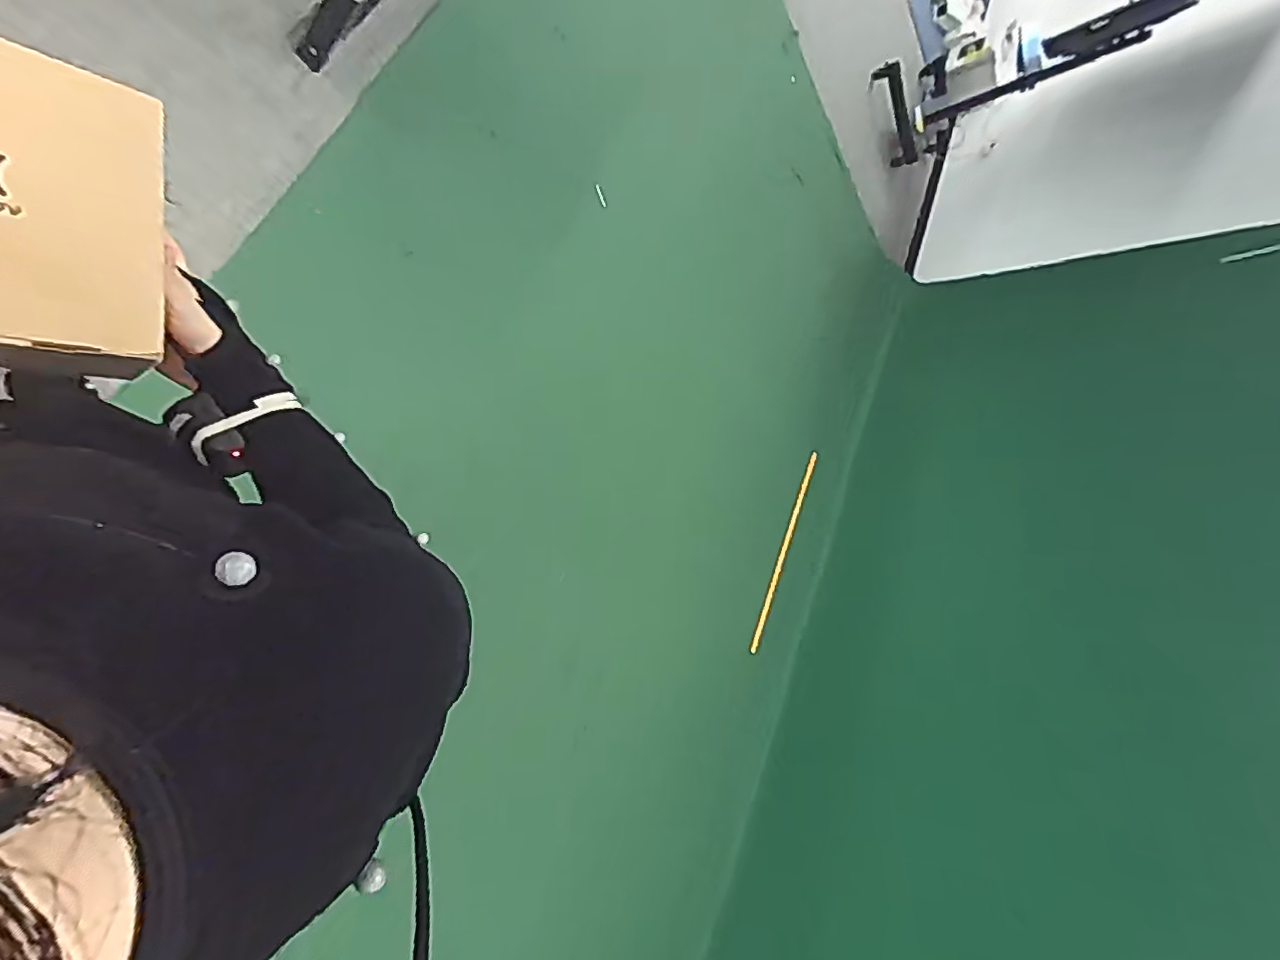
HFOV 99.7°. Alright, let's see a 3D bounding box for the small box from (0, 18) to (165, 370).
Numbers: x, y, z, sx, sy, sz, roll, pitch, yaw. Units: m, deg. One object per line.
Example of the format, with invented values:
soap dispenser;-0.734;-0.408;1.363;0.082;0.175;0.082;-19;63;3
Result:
small box;-0.431;-0.176;0.346;0.168;0.176;0.179;0;92;-51
